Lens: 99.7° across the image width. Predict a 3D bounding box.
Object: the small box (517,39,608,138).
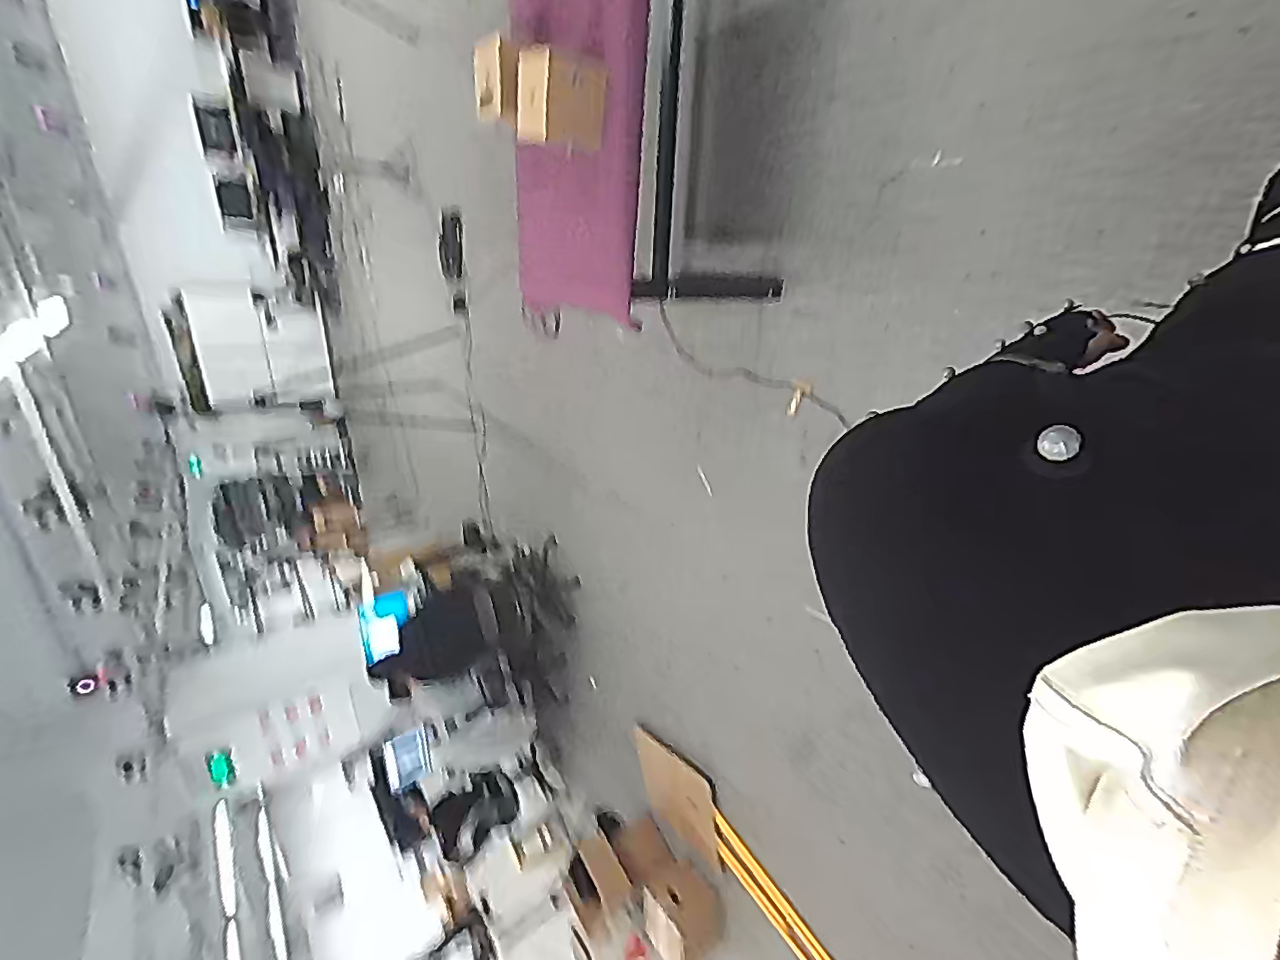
[{"bbox_3d":[-0.196,-0.987,1.370,0.168,0.176,0.179,40,132,41],"label":"small box"}]
